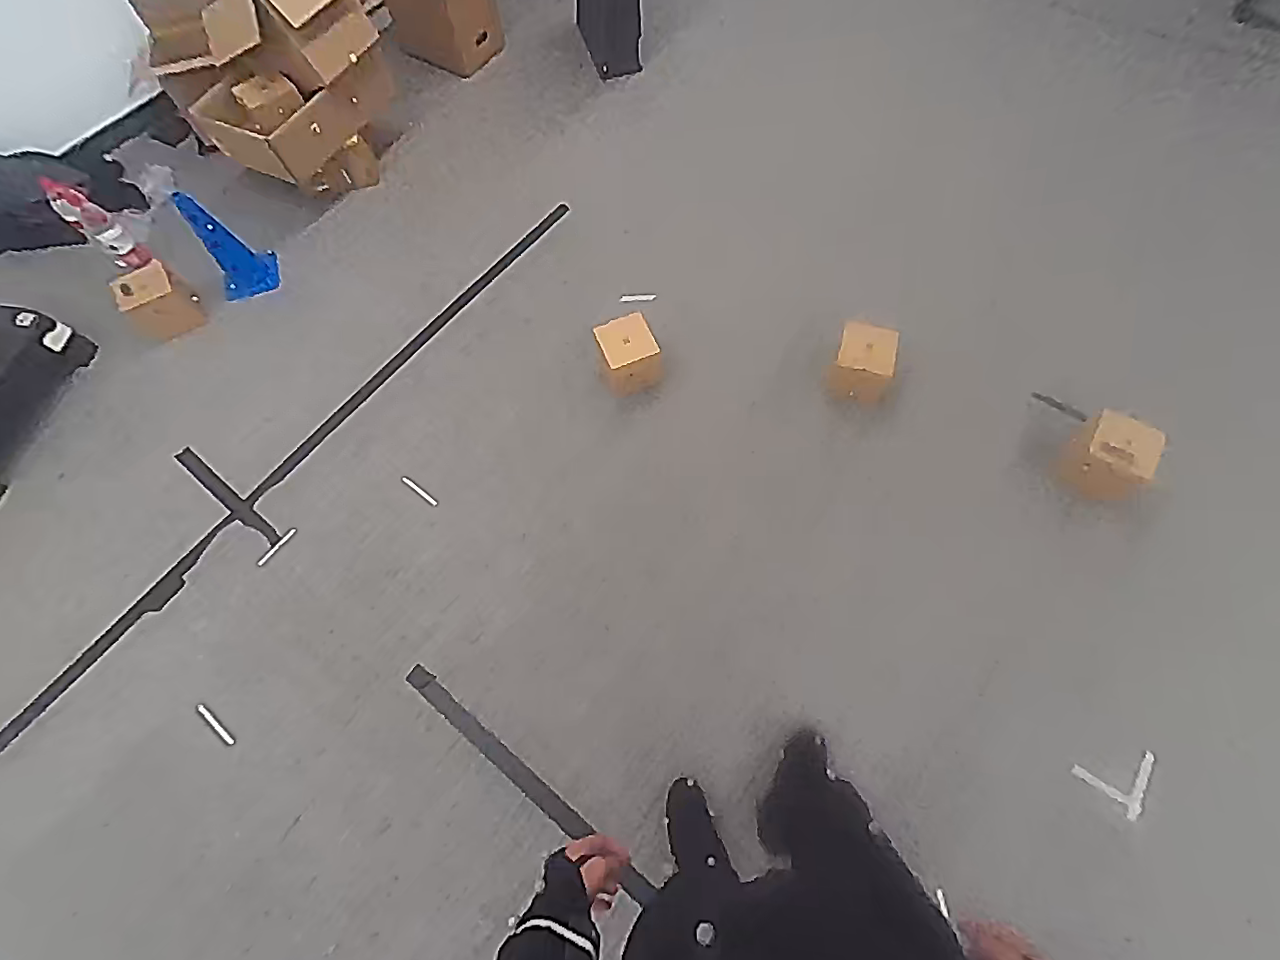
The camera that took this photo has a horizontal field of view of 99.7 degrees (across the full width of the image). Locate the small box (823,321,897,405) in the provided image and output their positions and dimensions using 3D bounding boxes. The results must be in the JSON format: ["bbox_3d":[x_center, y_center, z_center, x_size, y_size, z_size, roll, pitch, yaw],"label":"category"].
[{"bbox_3d":[0.697,-0.370,1.727,0.168,0.176,0.179,15,68,9],"label":"small box"}]

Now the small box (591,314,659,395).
[{"bbox_3d":[-0.044,-0.401,1.773,0.168,0.176,0.179,-22,67,-6],"label":"small box"}]
